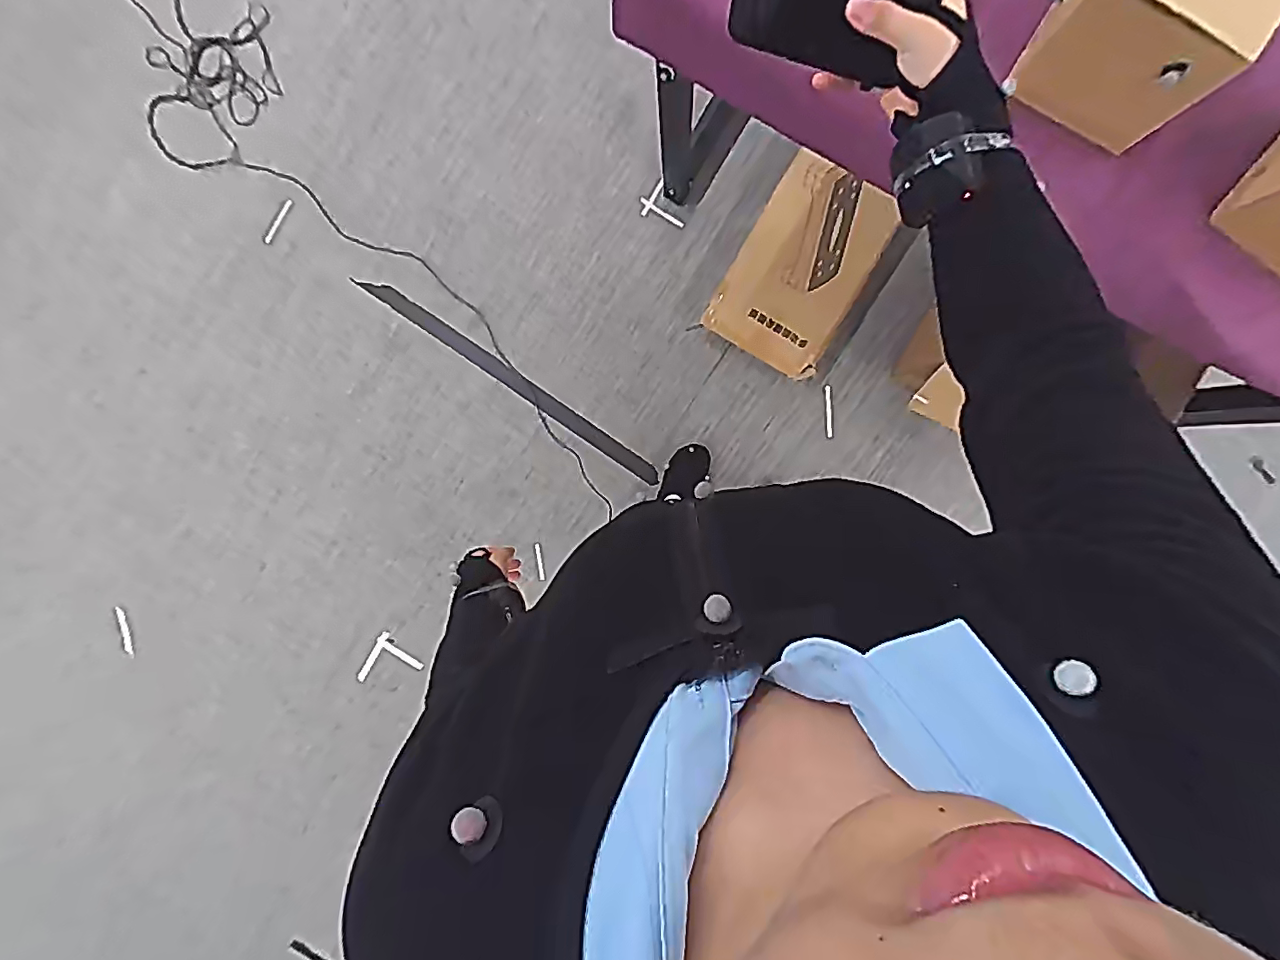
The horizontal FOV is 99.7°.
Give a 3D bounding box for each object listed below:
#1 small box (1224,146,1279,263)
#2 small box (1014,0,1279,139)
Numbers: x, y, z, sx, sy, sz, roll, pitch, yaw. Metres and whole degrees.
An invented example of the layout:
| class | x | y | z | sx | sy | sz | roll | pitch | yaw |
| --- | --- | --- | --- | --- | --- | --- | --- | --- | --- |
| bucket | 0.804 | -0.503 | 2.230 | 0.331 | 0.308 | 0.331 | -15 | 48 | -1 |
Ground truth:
| class | x | y | z | sx | sy | sz | roll | pitch | yaw |
| --- | --- | --- | --- | --- | --- | --- | --- | --- | --- |
| small box | 0.842 | -0.344 | 0.601 | 0.179 | 0.176 | 0.168 | 38 | 96 | 0 |
| small box | 0.583 | -0.529 | 0.606 | 0.179 | 0.176 | 0.168 | 31 | 93 | 2 |
